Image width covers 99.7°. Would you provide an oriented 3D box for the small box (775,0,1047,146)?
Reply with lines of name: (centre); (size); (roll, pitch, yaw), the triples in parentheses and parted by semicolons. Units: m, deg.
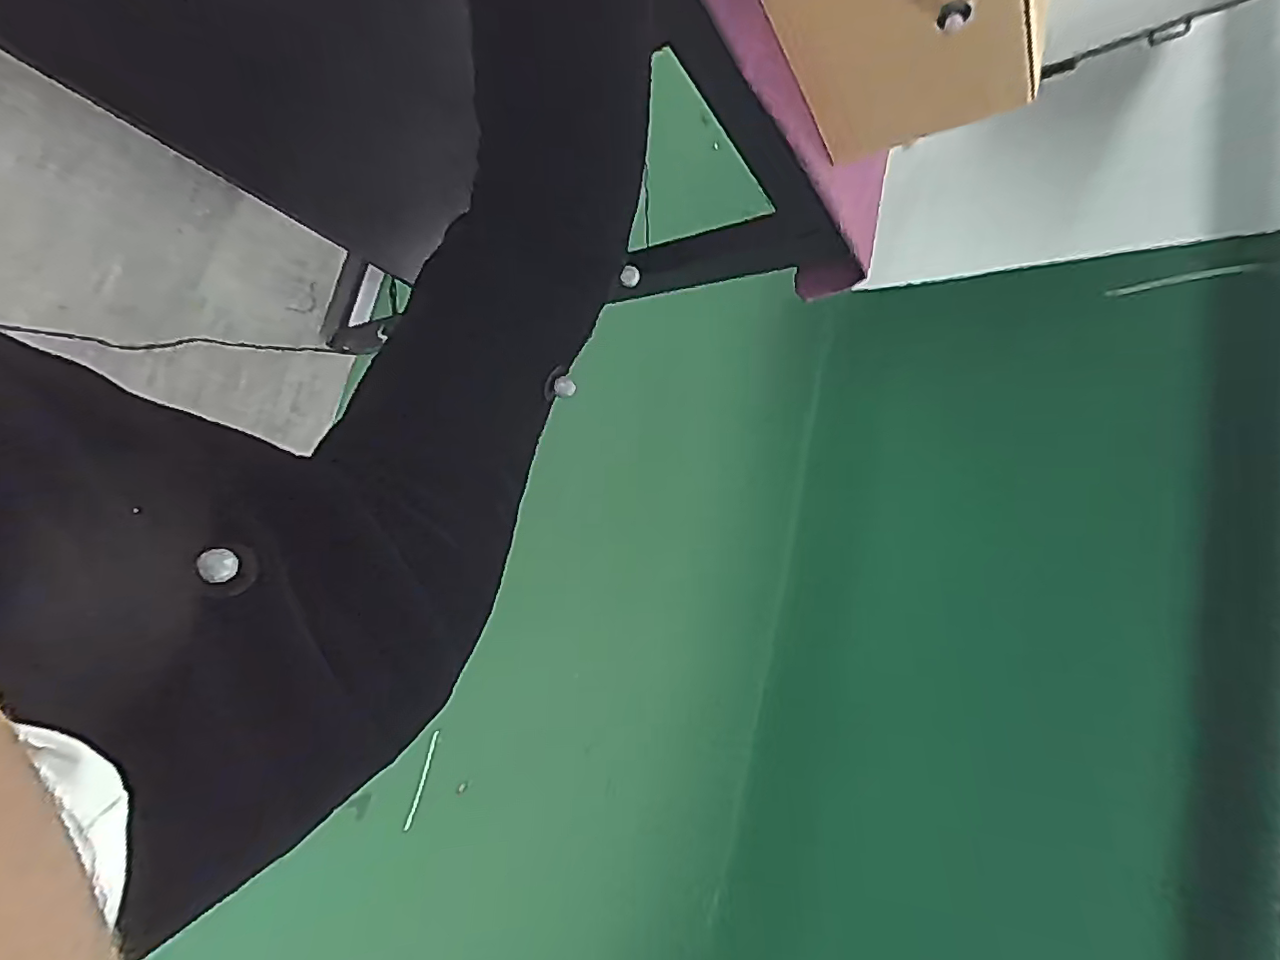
small box: (0.227, -0.423, 0.447); (0.179, 0.176, 0.168); (31, 71, -46)
